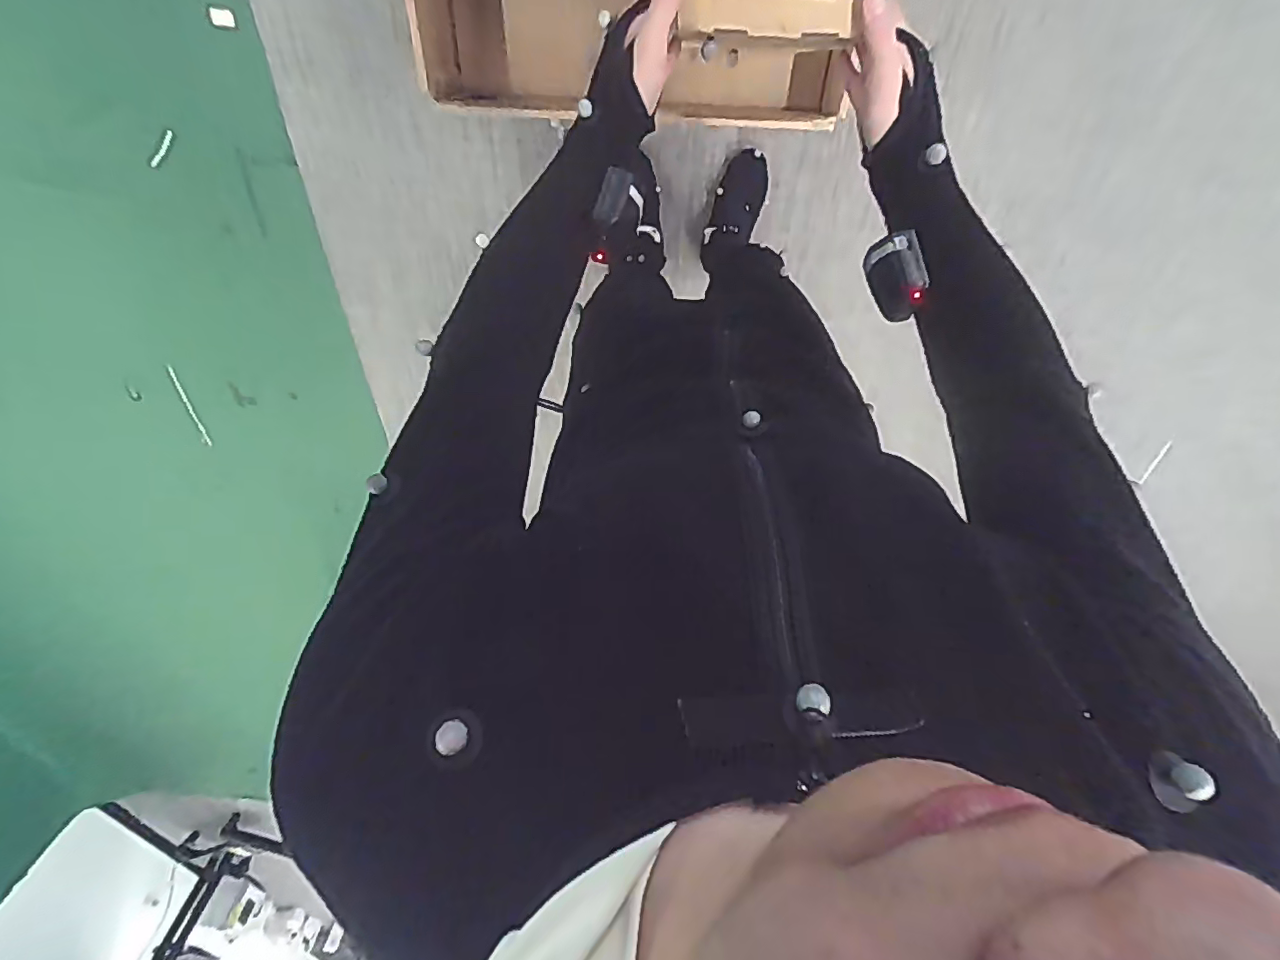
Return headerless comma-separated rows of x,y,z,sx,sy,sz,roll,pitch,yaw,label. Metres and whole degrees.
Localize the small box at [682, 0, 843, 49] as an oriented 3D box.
0.133,-0.587,0.588,0.168,0.176,0.179,3,128,3,small box
